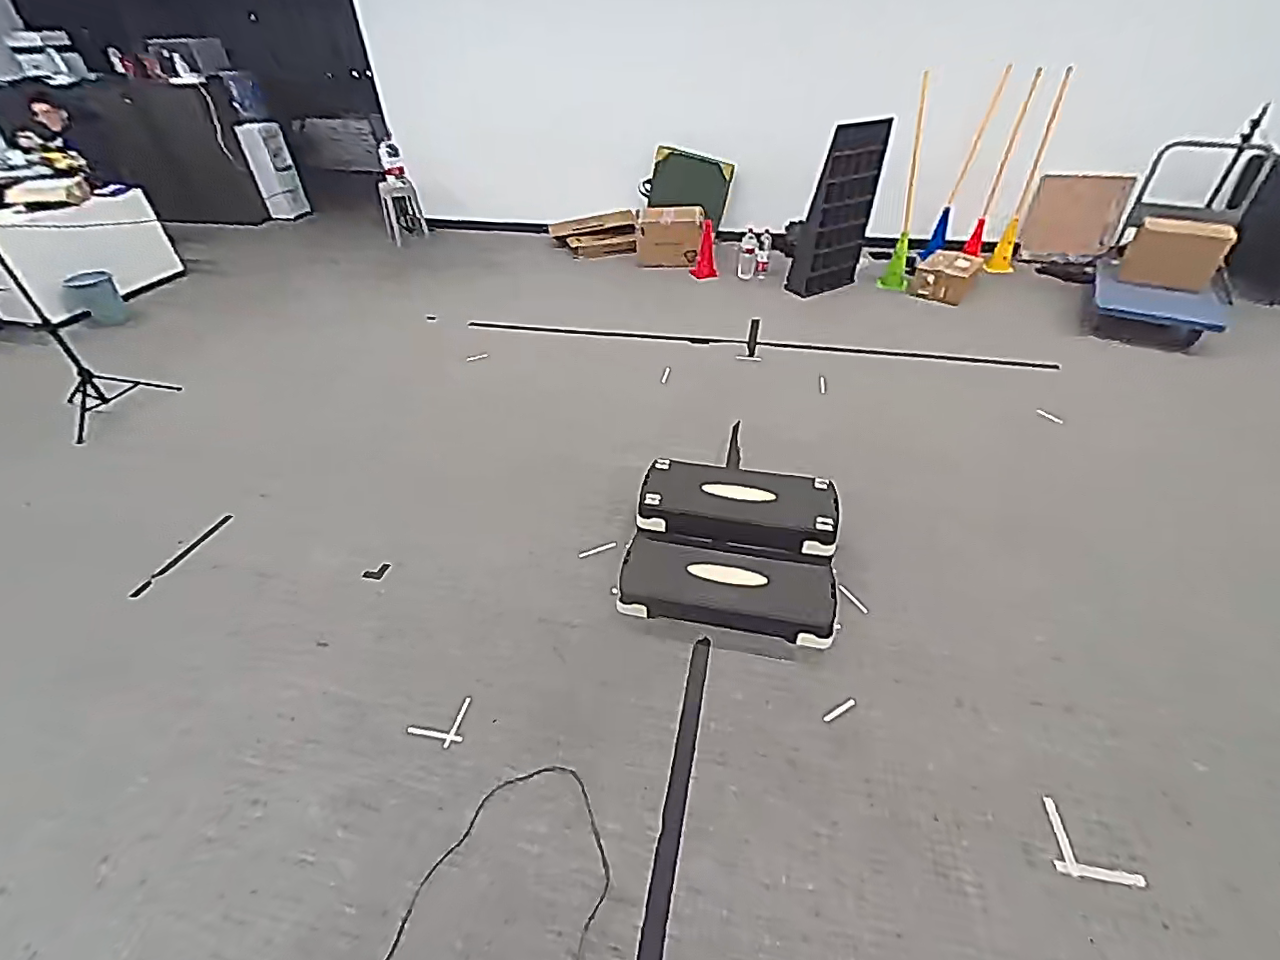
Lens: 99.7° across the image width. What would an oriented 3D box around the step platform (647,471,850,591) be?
[{"bbox_3d":[0.373,0.164,1.901,0.684,0.204,0.286,10,40,14],"label":"step platform"}]
